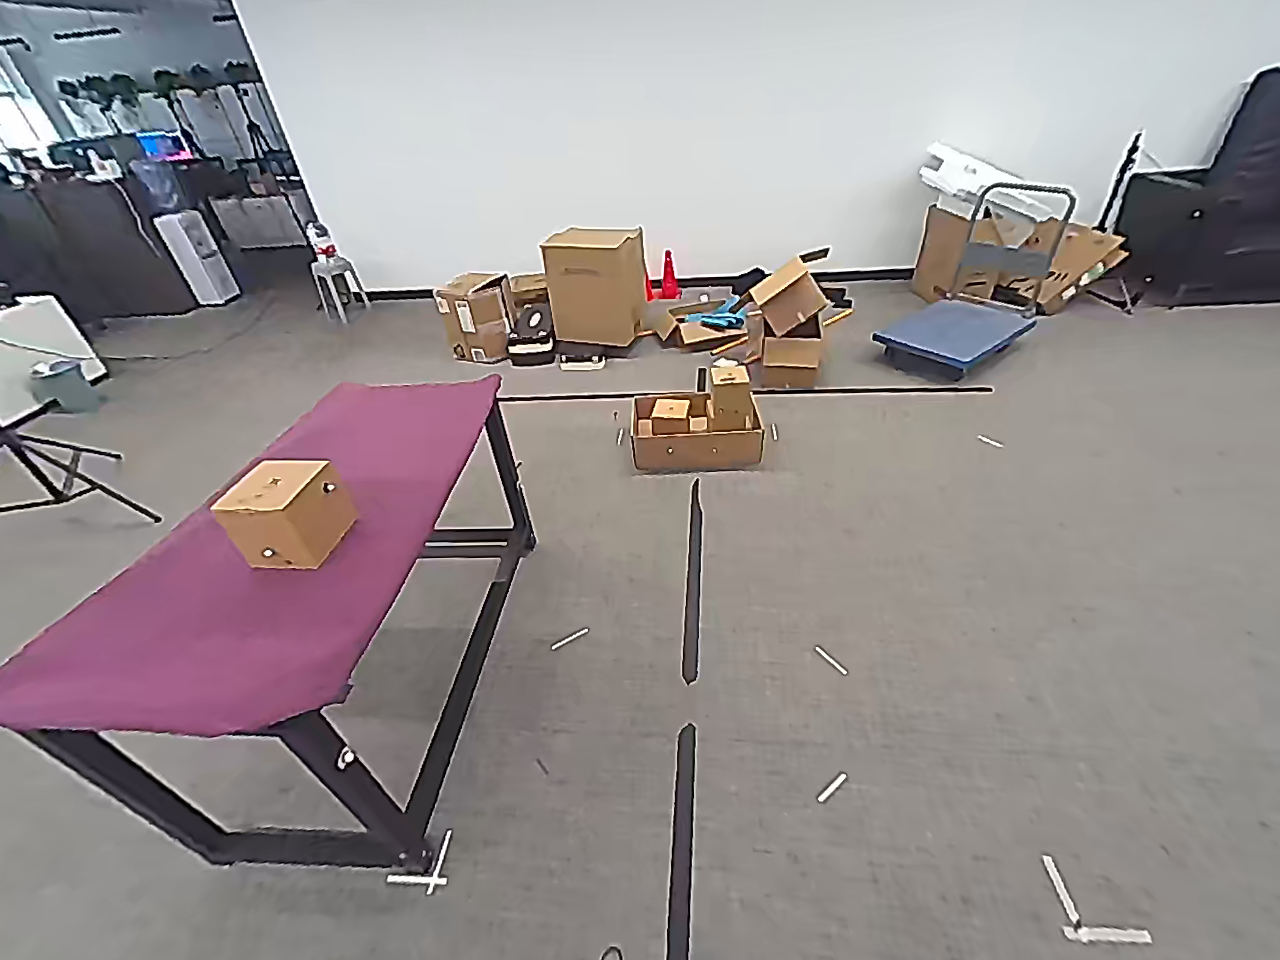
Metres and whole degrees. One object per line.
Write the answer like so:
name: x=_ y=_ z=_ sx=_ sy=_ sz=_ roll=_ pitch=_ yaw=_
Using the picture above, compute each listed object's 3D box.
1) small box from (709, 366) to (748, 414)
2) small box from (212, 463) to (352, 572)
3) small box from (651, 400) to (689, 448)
small box: x=0.417 y=-0.421 z=2.556 sx=0.168 sy=0.176 sz=0.179 roll=-3 pitch=36 yaw=3
small box: x=-0.770 y=0.079 z=1.193 sx=0.168 sy=0.176 sz=0.179 roll=0 pitch=37 yaw=8
small box: x=0.151 y=-0.279 z=2.678 sx=0.168 sy=0.176 sz=0.179 roll=4 pitch=38 yaw=10
